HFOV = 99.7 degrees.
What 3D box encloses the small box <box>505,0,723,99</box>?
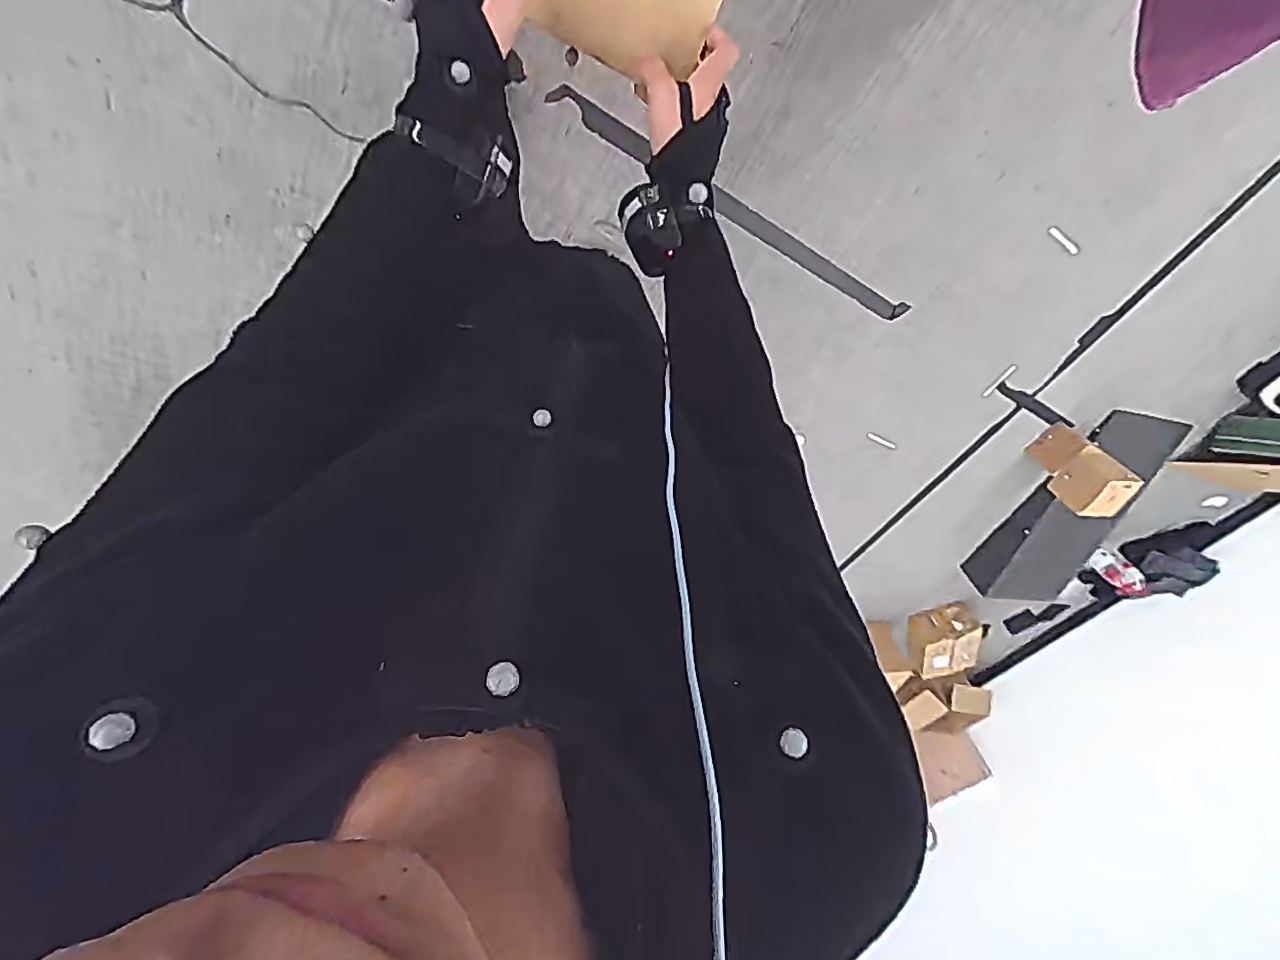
[{"bbox_3d":[-0.023,-0.475,0.473,0.179,0.176,0.168,11,128,-27],"label":"small box"}]
